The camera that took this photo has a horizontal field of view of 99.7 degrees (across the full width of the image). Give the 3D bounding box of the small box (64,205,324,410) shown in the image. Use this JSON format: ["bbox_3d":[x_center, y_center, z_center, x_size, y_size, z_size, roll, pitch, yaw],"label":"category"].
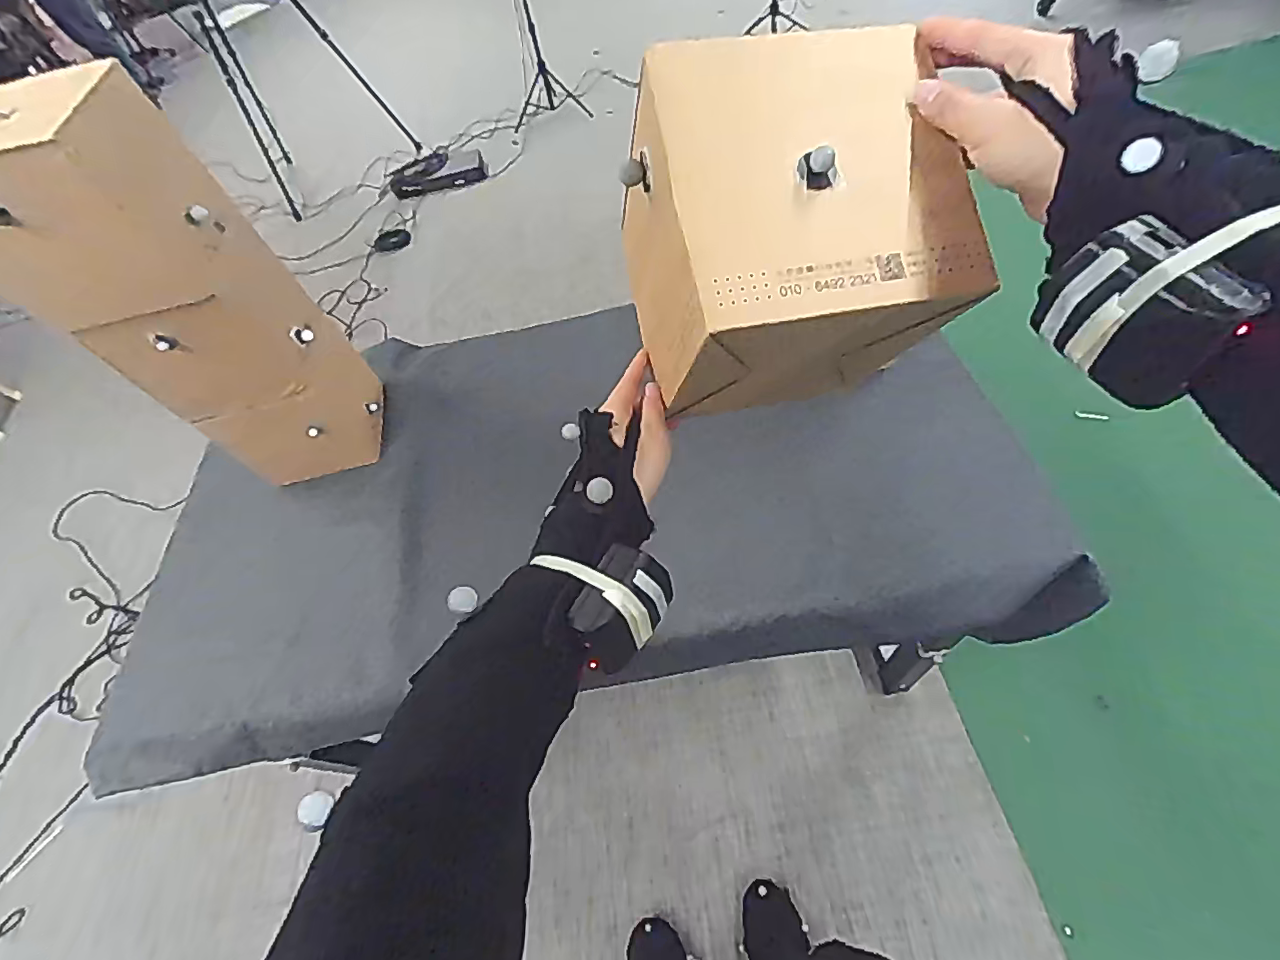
[{"bbox_3d":[-0.551,-0.213,0.698,0.179,0.176,0.168,-14,59,0],"label":"small box"}]

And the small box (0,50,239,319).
[{"bbox_3d":[-0.570,-0.291,0.554,0.179,0.176,0.168,-13,59,1],"label":"small box"}]

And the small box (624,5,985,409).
[{"bbox_3d":[0.089,-0.160,0.367,0.168,0.179,0.176,-10,83,-7],"label":"small box"}]
